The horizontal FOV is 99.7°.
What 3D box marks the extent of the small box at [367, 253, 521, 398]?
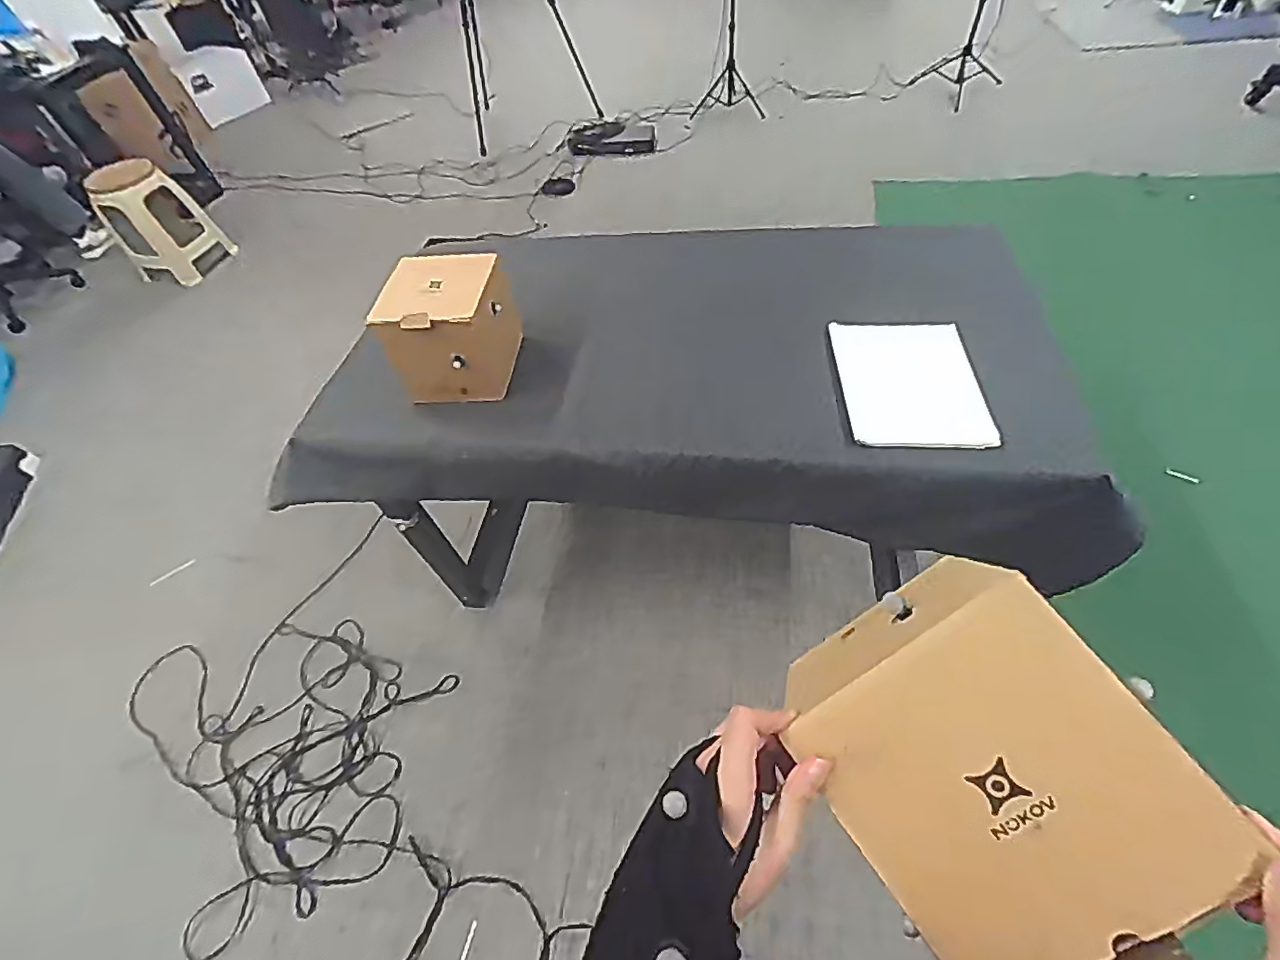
[{"bbox_3d":[-0.308,-0.250,0.896,0.168,0.176,0.179,0,52,5],"label":"small box"}]
